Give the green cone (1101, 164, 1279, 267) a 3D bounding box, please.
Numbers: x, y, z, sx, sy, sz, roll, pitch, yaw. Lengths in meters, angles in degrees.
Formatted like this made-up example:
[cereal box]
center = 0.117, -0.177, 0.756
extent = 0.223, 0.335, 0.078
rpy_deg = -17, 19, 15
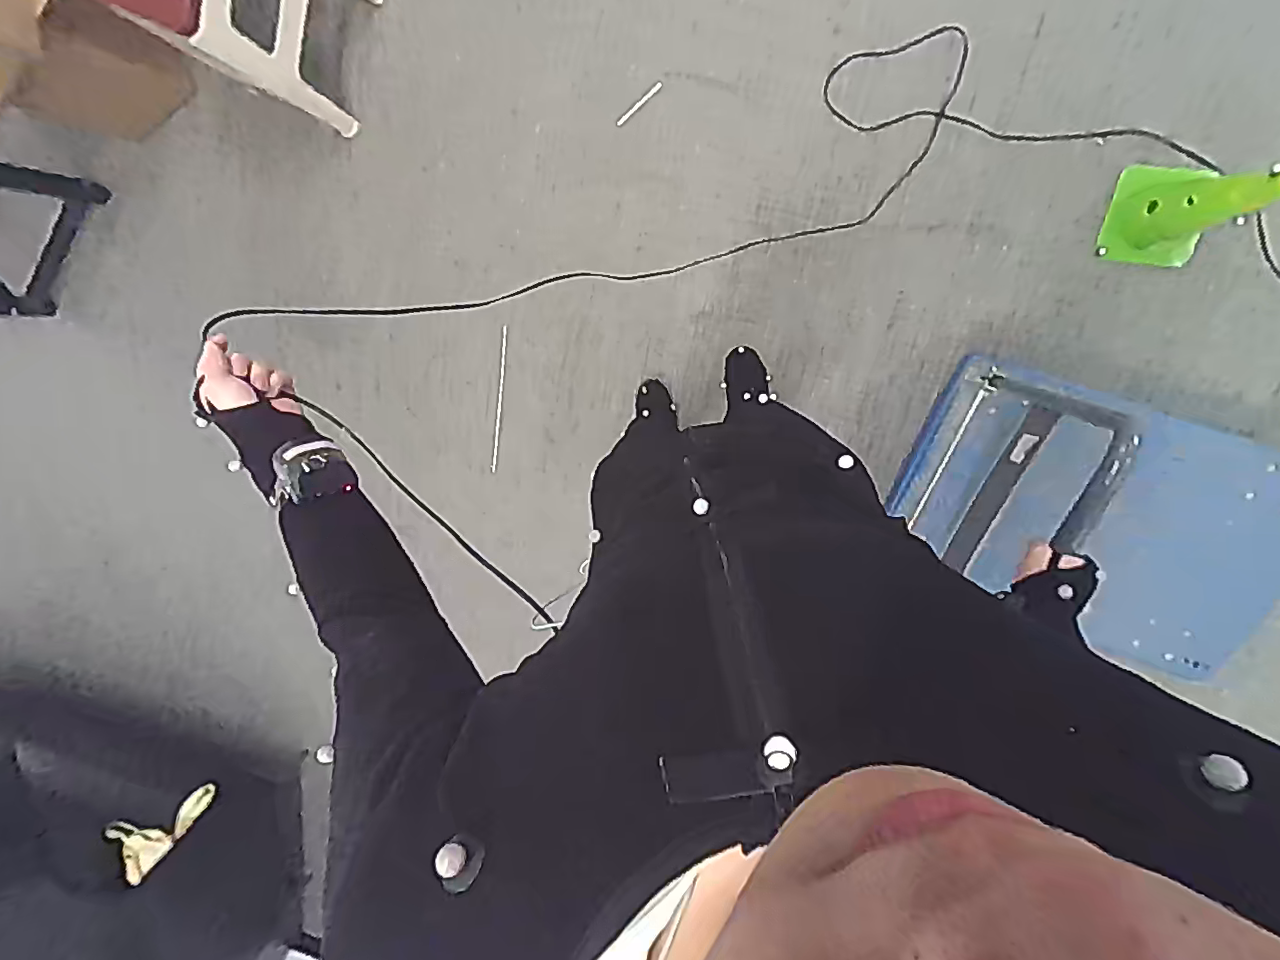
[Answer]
[green cone]
center = 1.147, -0.549, 1.062
extent = 0.200, 0.368, 0.202
rpy_deg = 10, 107, 10
